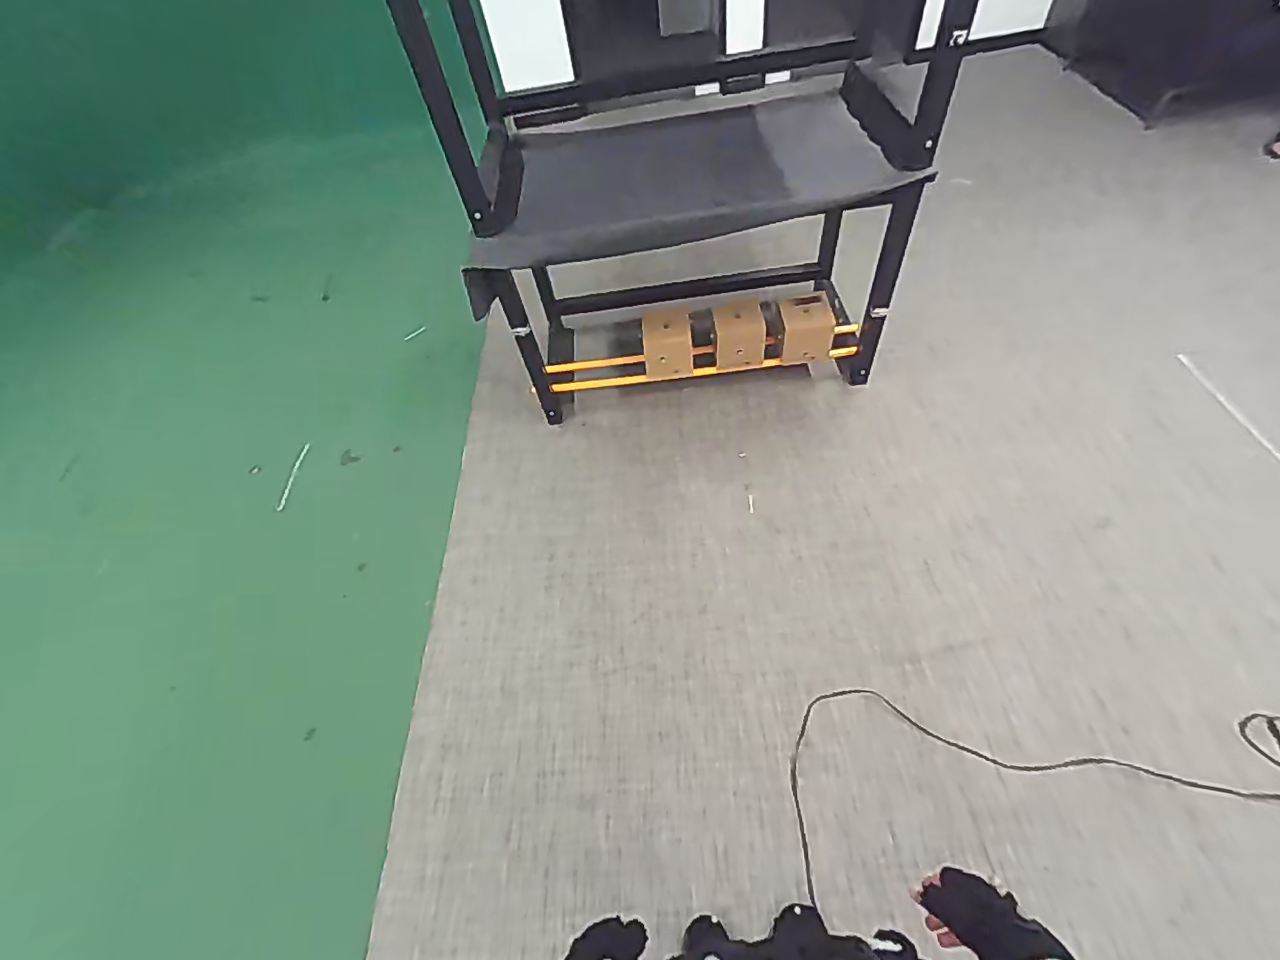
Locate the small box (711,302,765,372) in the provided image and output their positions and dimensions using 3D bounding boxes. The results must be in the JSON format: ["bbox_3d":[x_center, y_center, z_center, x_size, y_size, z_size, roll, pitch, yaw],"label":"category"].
[{"bbox_3d":[0.345,-0.500,1.914,0.168,0.176,0.179,-7,54,3],"label":"small box"}]

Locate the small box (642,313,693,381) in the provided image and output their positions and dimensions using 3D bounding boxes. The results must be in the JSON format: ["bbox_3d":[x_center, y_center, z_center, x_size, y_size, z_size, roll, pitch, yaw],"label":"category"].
[{"bbox_3d":[0.101,-0.467,1.928,0.168,0.176,0.179,-5,54,3],"label":"small box"}]
